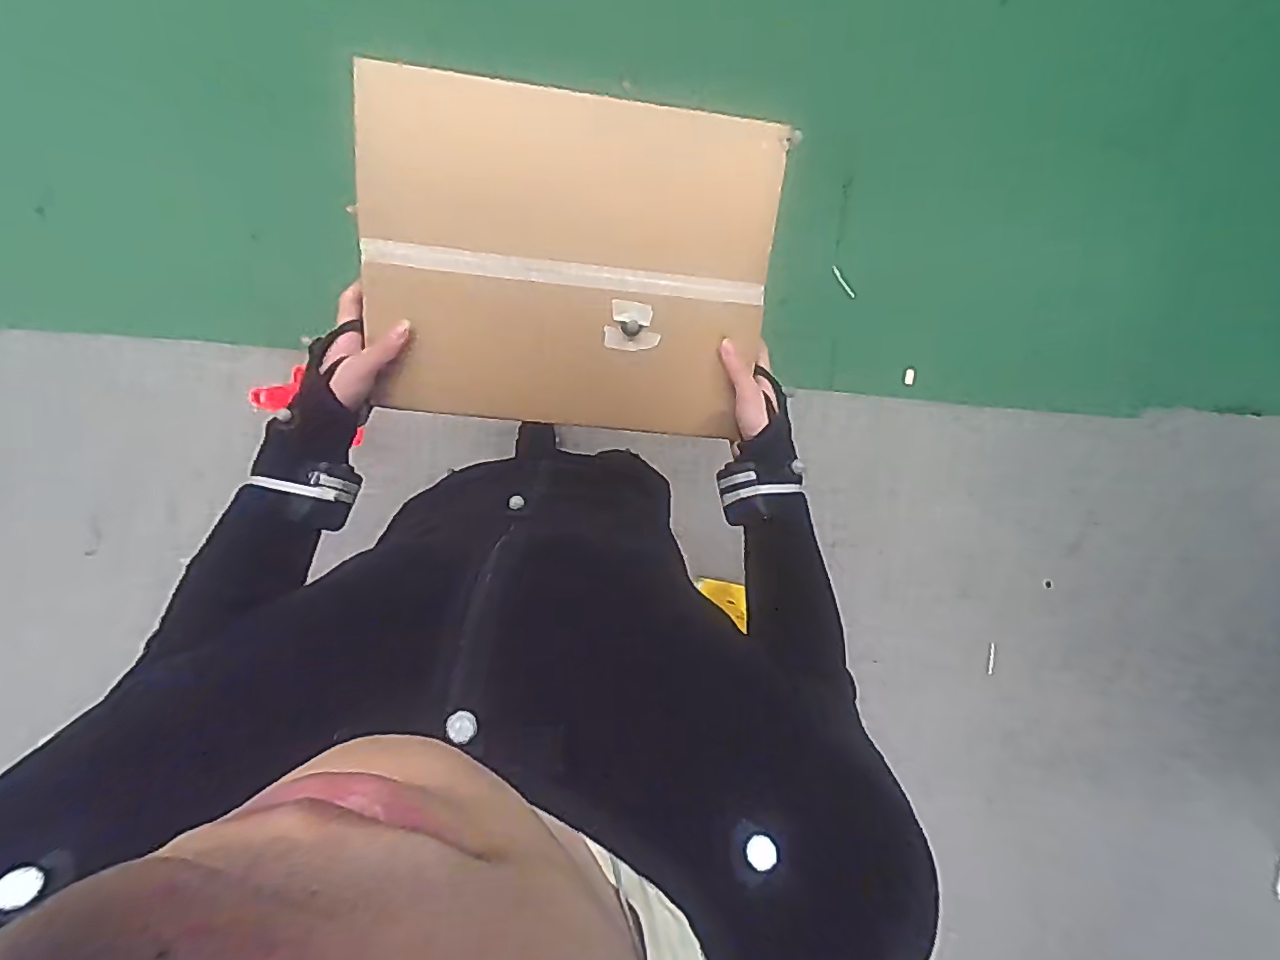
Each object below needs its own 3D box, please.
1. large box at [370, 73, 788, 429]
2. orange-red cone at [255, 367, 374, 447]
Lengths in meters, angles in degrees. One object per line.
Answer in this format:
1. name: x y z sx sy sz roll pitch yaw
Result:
1. large box: -0.078 -0.258 0.696 0.408 0.320 0.320 4 108 -7
2. orange-red cone: -0.834 -0.190 1.332 0.199 0.360 0.198 10 92 -8
